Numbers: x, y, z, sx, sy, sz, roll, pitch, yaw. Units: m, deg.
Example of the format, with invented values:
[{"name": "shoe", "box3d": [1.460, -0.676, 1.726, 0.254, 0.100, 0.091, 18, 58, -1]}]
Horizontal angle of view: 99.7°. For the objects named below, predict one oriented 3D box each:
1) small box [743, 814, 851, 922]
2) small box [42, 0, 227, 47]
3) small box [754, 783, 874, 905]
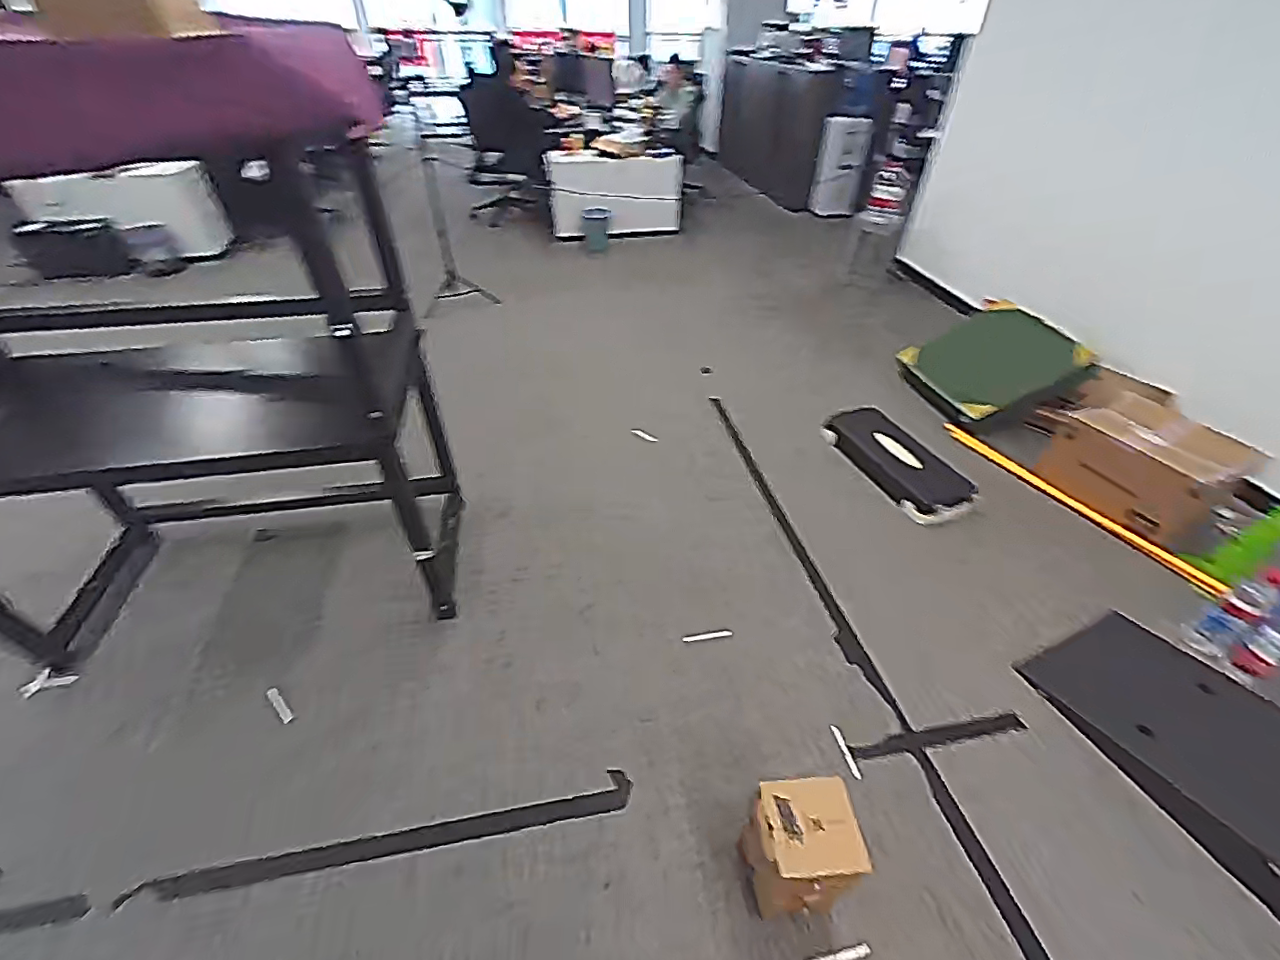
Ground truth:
[{"name": "small box", "box3d": [0.338, 0.853, 1.199, 0.168, 0.176, 0.179, -5, 43, -7]}, {"name": "small box", "box3d": [-0.778, -0.766, 0.814, 0.179, 0.176, 0.168, -5, 40, -5]}, {"name": "small box", "box3d": [0.335, 0.732, 1.086, 0.179, 0.176, 0.168, -1, 42, -4]}]
